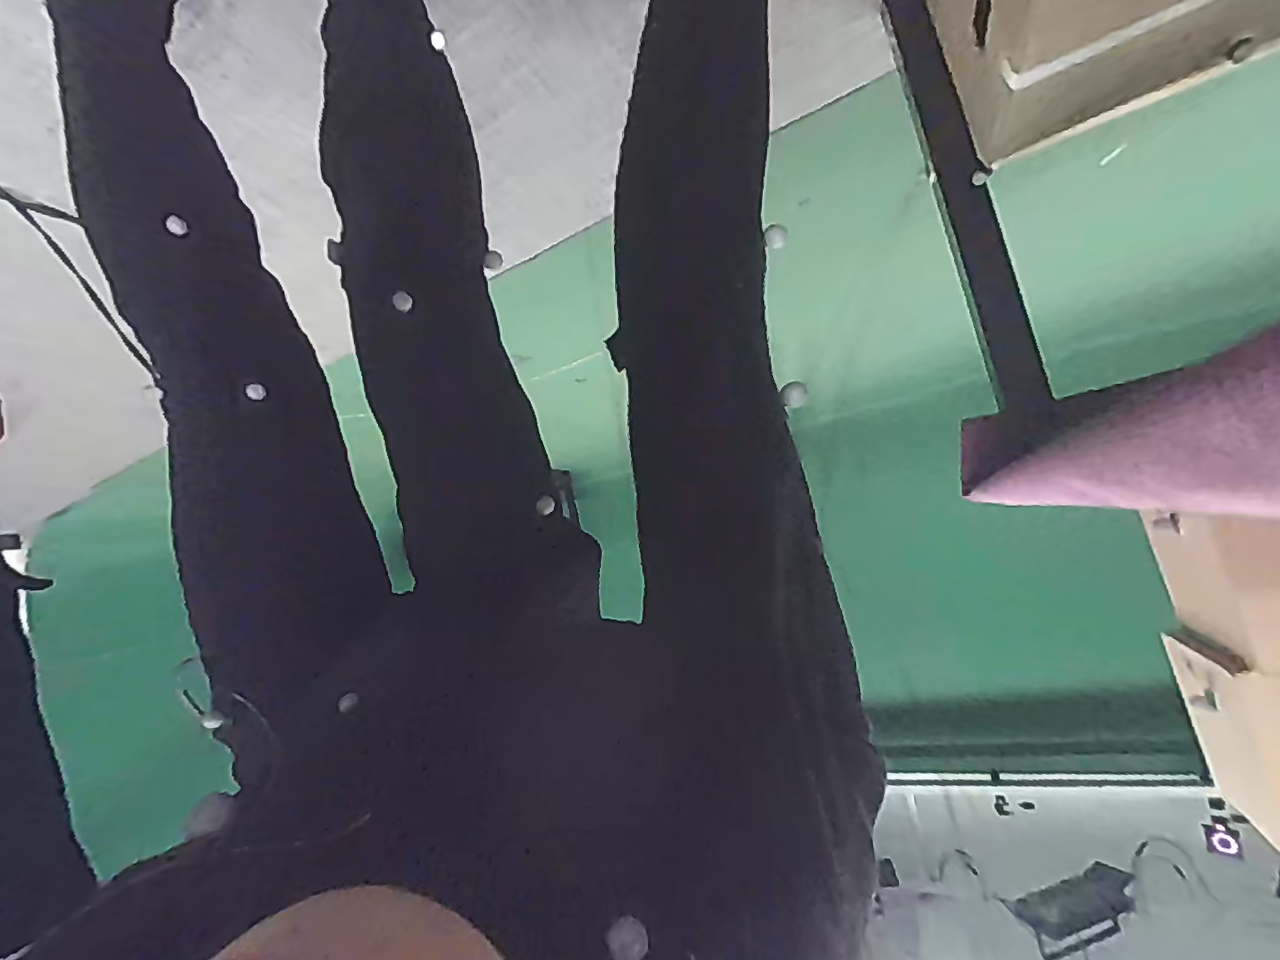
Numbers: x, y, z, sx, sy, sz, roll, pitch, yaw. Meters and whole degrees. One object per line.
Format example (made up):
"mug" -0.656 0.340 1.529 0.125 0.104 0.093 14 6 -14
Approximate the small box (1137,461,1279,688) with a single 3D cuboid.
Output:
"small box" 0.593 0.065 0.470 0.179 0.176 0.168 -17 170 27

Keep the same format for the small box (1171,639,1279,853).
"small box" 0.626 0.227 0.466 0.179 0.176 0.168 -17 169 27
